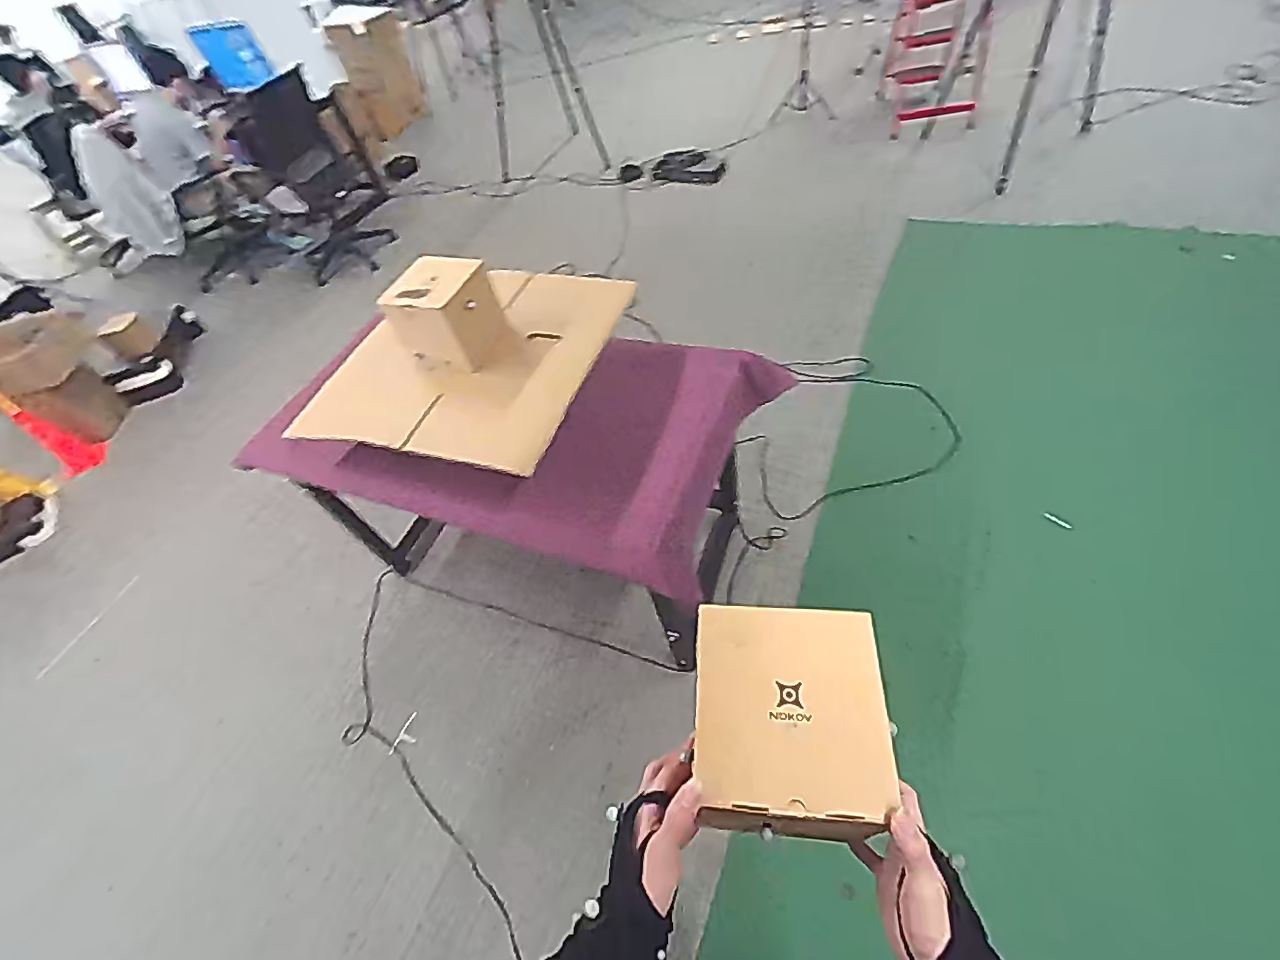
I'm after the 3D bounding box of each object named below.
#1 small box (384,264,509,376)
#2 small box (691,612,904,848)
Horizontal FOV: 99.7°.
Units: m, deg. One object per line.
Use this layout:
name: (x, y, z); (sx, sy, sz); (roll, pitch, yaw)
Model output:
small box: (-0.415, -0.352, 1.196); (0.168, 0.176, 0.179); (11, 55, 18)
small box: (0.135, 0.249, 0.537); (0.168, 0.176, 0.179); (0, 53, 6)
